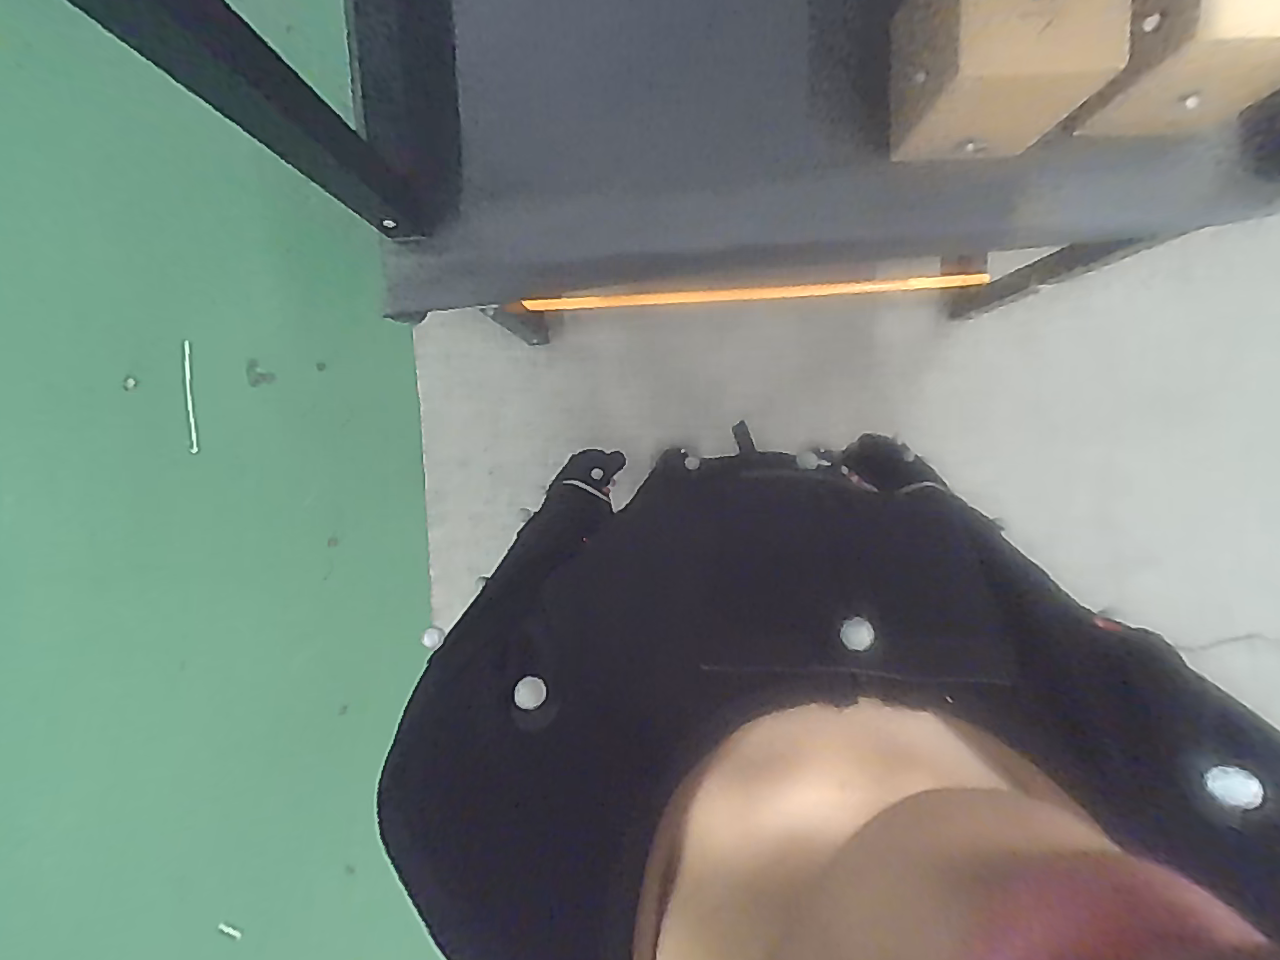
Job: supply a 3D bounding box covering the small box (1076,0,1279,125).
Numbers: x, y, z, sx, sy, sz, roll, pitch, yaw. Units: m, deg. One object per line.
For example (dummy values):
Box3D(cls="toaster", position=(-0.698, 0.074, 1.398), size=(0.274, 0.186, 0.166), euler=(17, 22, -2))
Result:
Box3D(cls="small box", position=(0.629, -0.526, 0.600), size=(0.168, 0.176, 0.179), euler=(1, 93, 3))
